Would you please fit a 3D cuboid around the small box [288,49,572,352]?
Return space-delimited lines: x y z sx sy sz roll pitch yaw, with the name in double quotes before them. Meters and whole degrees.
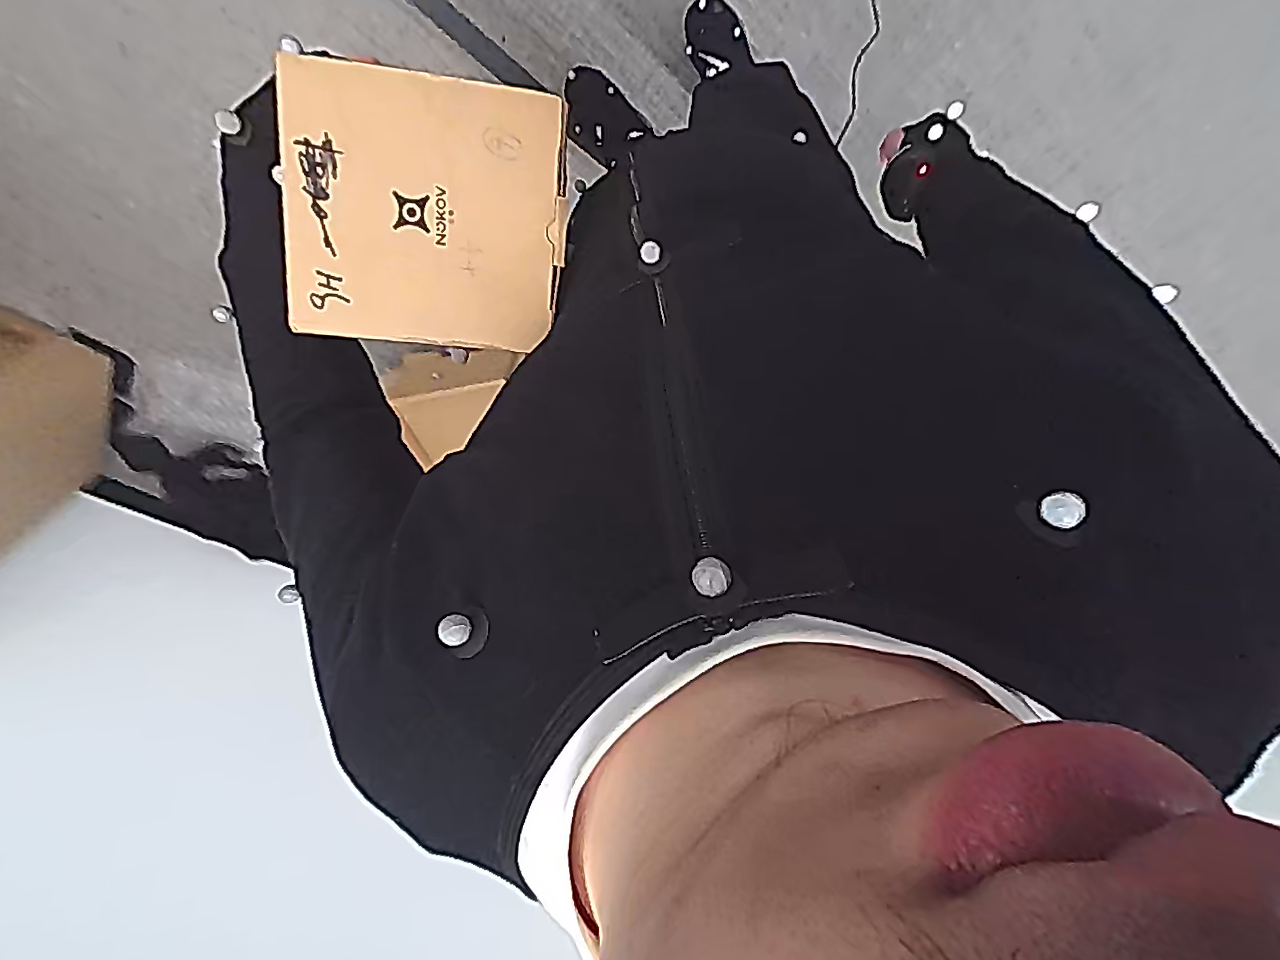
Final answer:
"small box" -0.152 -0.198 0.440 0.179 0.176 0.168 4 103 -10
